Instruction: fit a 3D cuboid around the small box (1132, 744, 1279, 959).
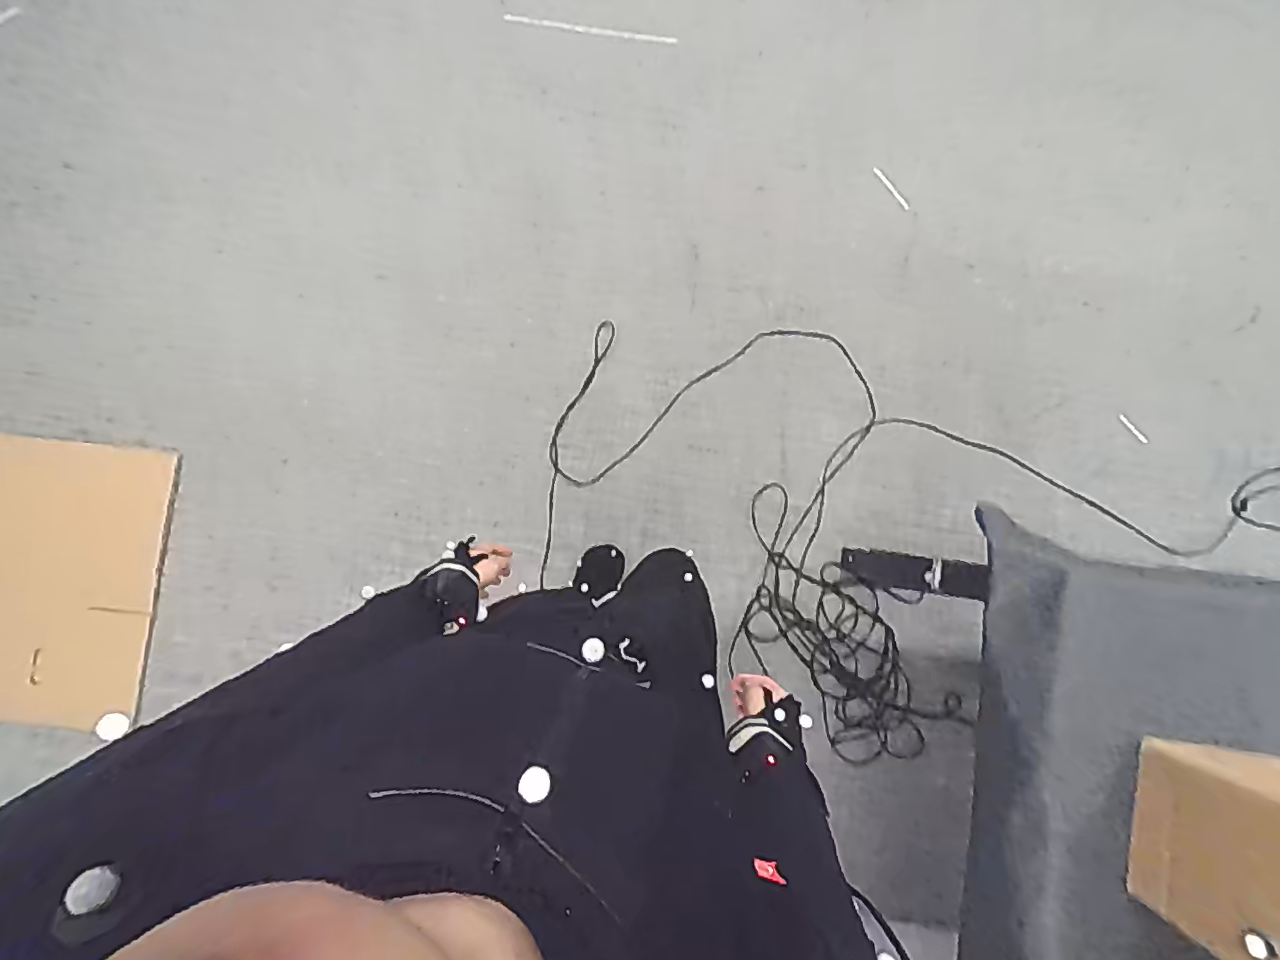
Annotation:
[{"bbox_3d":[0.649,0.392,0.541,0.168,0.176,0.179,9,86,-1],"label":"small box"}]
